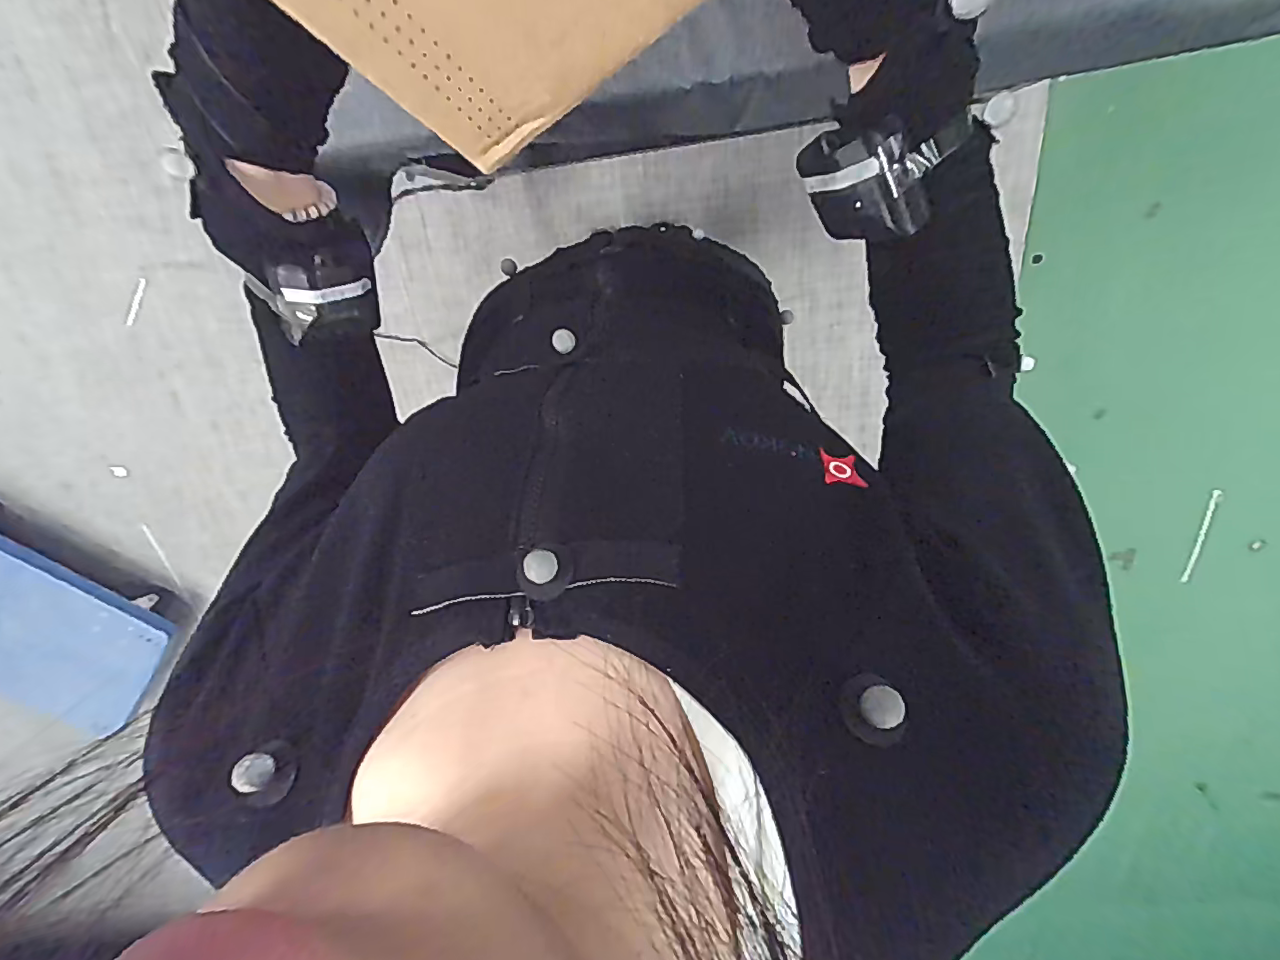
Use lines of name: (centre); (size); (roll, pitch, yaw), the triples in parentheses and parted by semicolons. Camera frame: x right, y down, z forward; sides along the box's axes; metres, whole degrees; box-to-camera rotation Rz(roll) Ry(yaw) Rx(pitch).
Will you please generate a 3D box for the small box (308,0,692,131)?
small box: (-0.071, -0.271, 0.190); (0.176, 0.179, 0.168); (-25, 79, 22)
